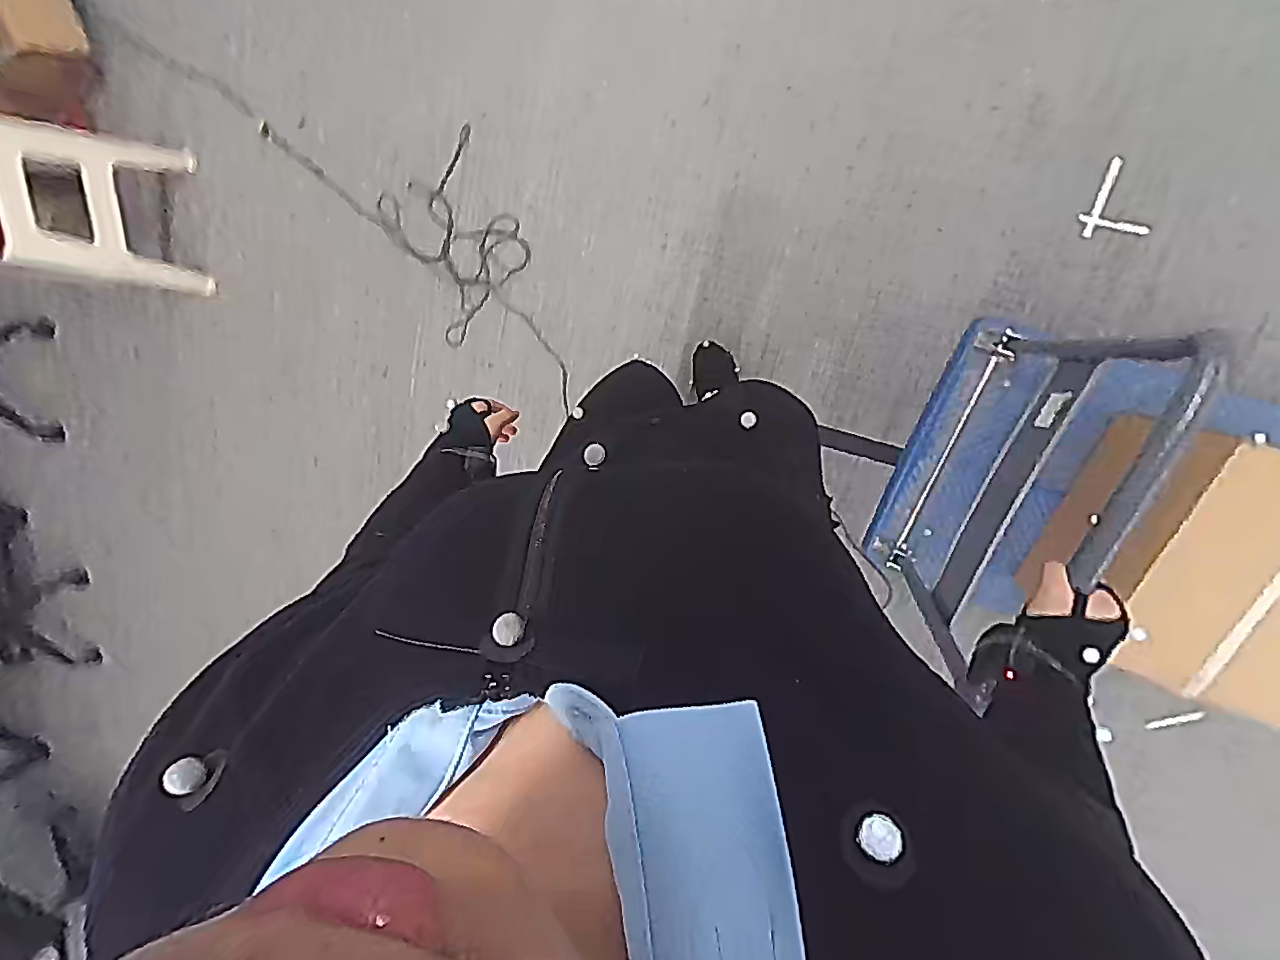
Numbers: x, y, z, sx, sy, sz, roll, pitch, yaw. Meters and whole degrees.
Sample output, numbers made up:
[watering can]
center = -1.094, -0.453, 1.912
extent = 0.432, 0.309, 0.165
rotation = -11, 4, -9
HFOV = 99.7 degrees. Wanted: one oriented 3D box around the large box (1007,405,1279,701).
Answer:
[large box]
center = 0.992, 0.109, 1.012
extent = 0.320, 0.320, 0.408
rotation = 21, 107, 6
